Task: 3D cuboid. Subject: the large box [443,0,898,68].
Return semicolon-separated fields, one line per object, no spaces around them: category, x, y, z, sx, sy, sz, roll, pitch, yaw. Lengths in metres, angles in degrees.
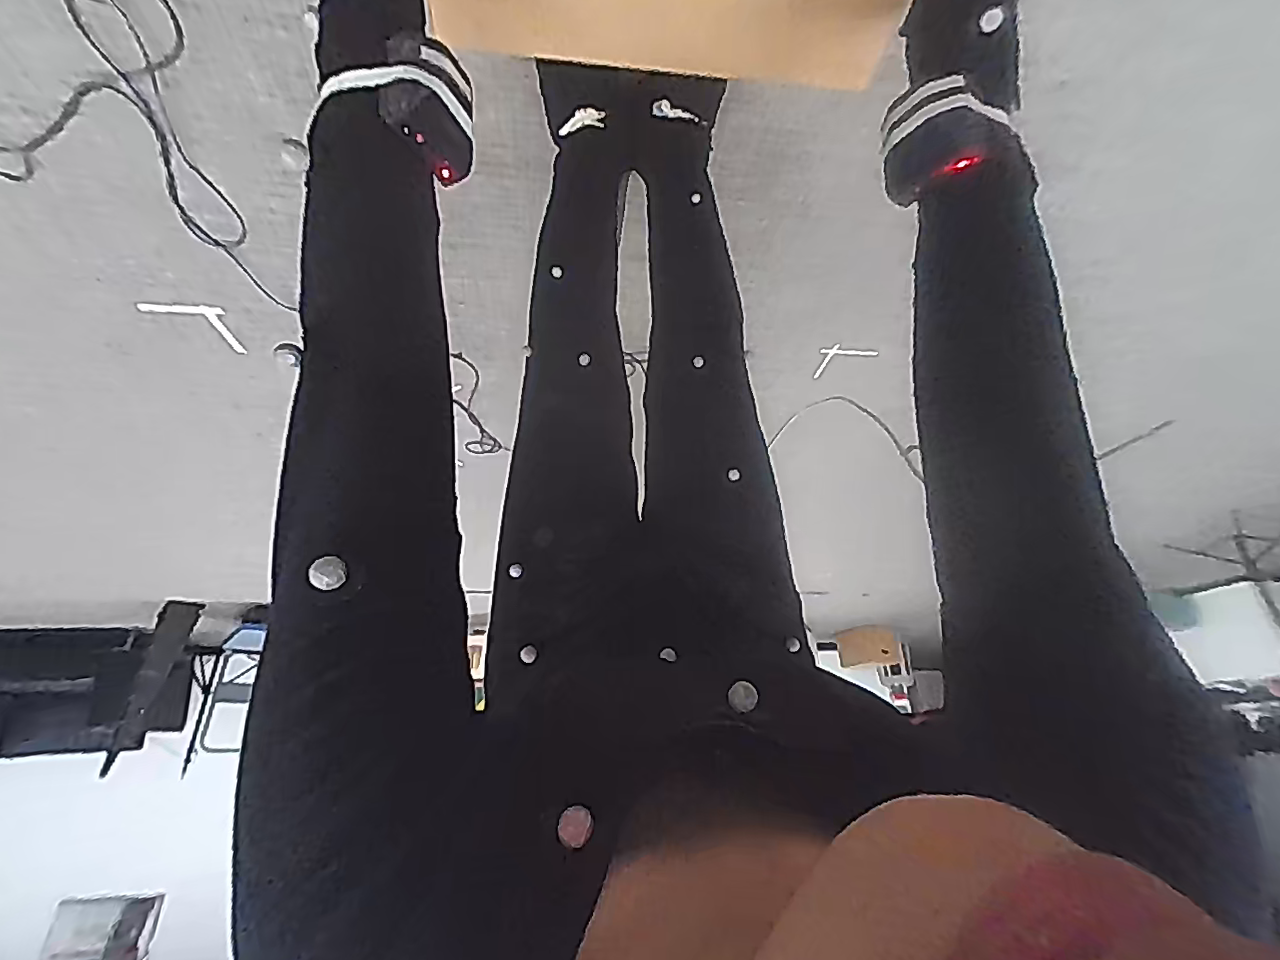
large box;0.031;-0.601;0.445;0.408;0.320;0.320;1;150;-7
